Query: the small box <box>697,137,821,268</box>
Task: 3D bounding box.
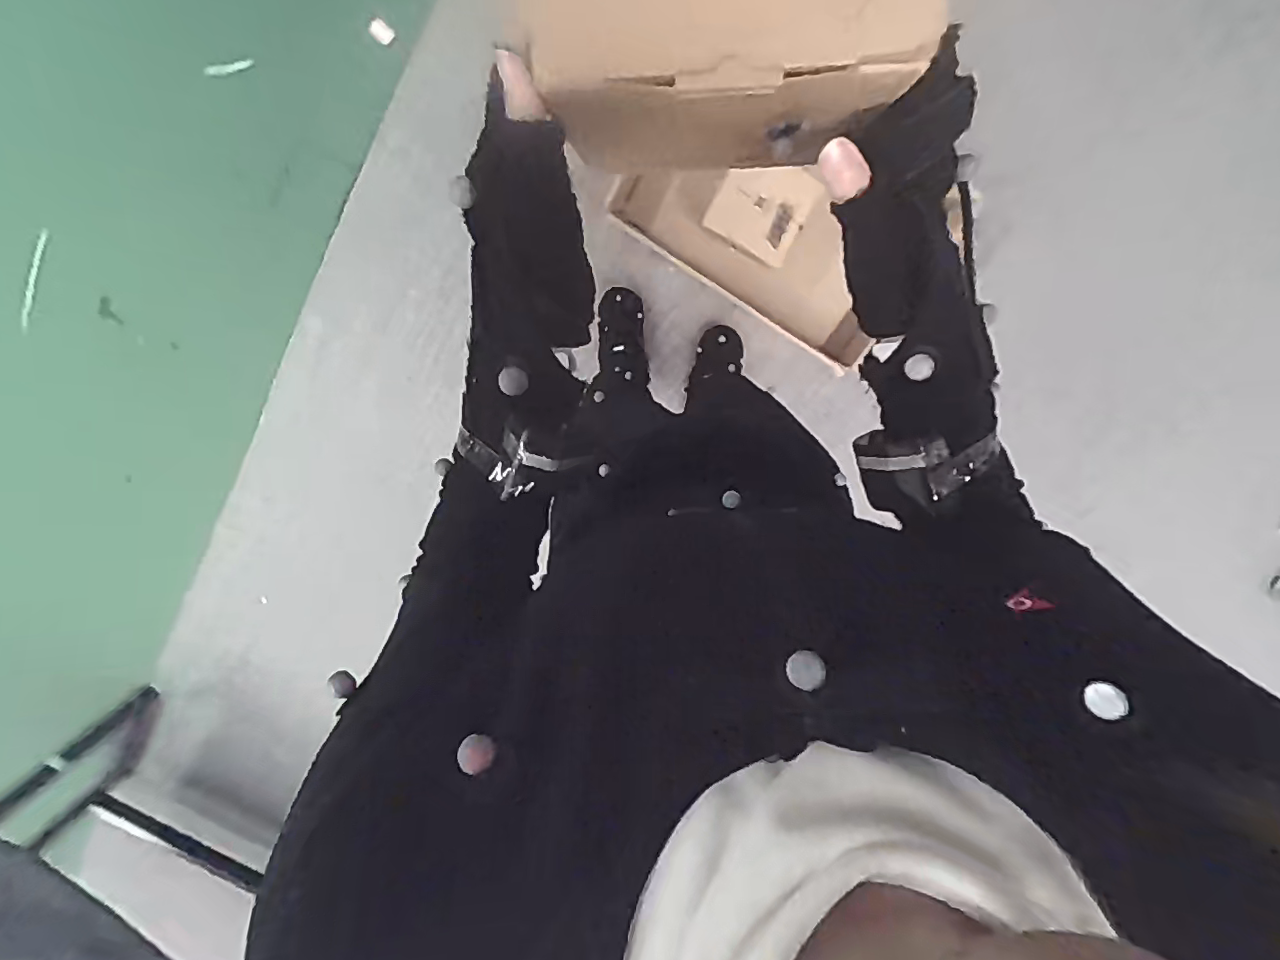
[{"bbox_3d":[0.232,-0.551,1.095,0.179,0.176,0.168,31,111,-5],"label":"small box"}]
